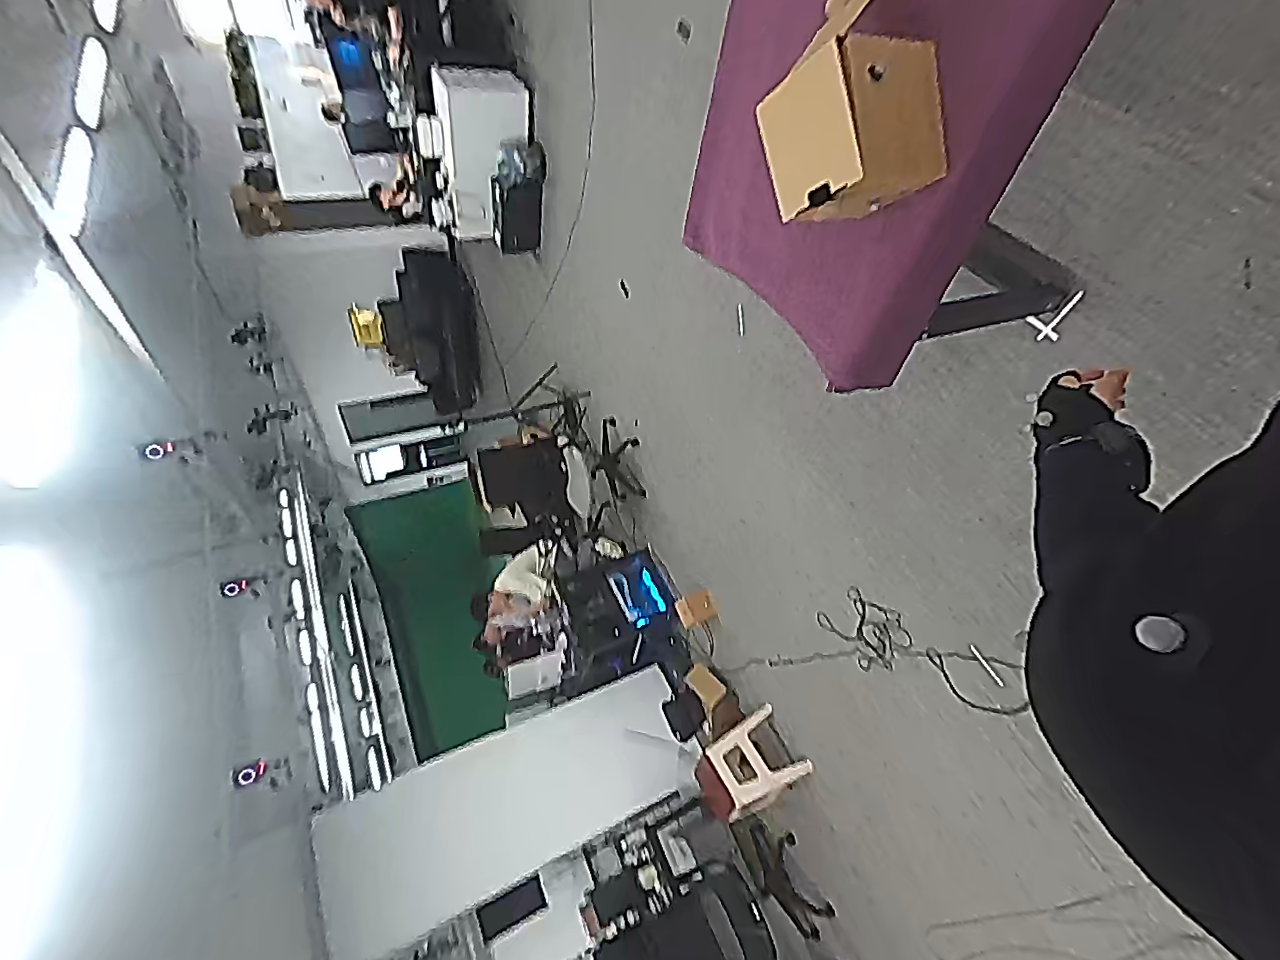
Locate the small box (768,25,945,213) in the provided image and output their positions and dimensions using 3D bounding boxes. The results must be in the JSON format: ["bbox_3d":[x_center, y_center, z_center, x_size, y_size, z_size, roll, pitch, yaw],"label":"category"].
[{"bbox_3d":[0.316,-0.512,0.794,0.168,0.176,0.179,11,113,66],"label":"small box"}]
